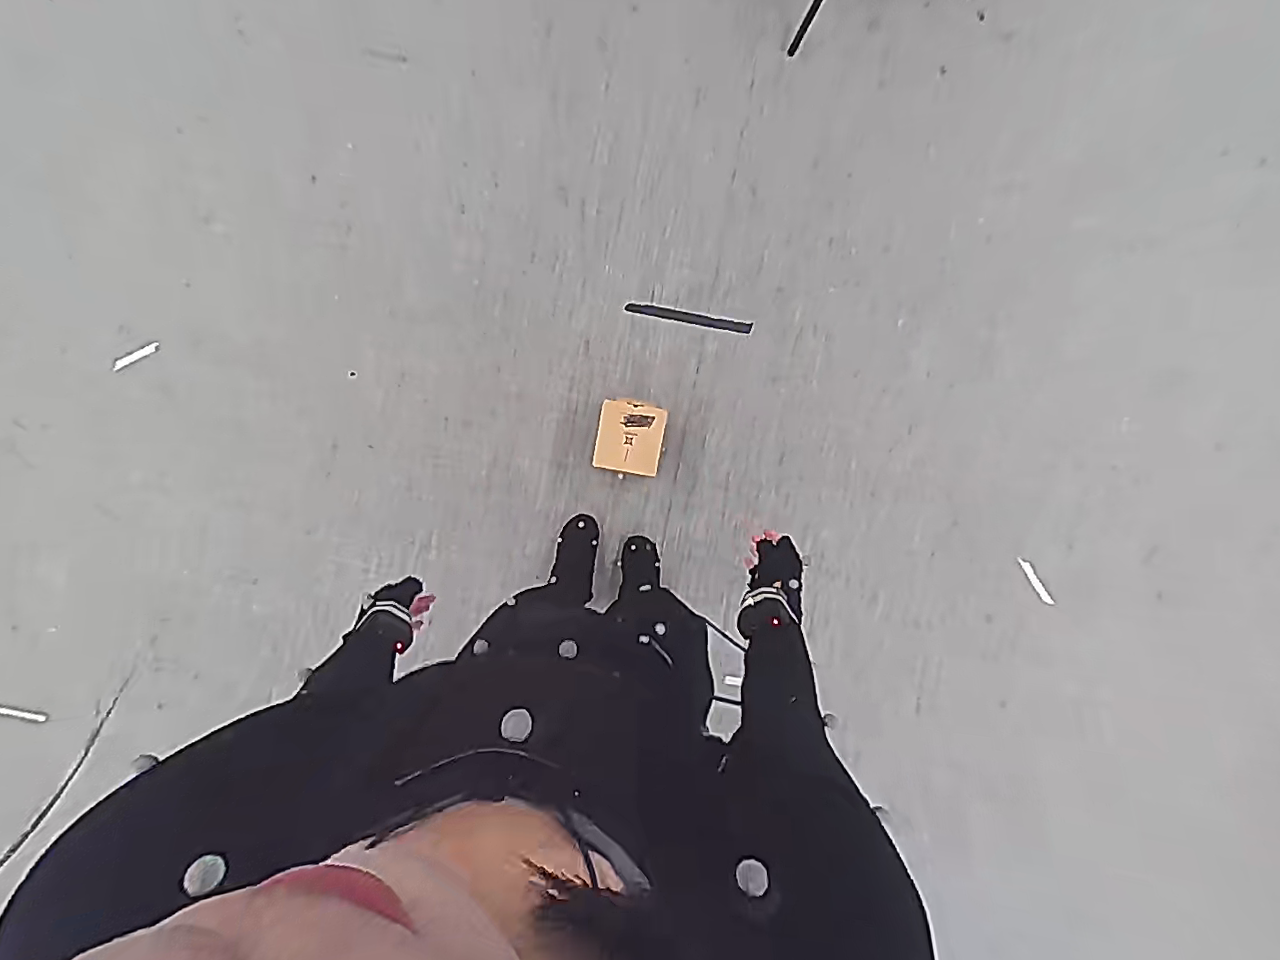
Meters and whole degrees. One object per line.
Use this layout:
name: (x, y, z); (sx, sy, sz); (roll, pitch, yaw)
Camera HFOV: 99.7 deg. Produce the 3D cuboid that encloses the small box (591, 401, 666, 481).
small box: (-0.032, -0.098, 1.443); (0.168, 0.176, 0.179); (10, 89, -1)
